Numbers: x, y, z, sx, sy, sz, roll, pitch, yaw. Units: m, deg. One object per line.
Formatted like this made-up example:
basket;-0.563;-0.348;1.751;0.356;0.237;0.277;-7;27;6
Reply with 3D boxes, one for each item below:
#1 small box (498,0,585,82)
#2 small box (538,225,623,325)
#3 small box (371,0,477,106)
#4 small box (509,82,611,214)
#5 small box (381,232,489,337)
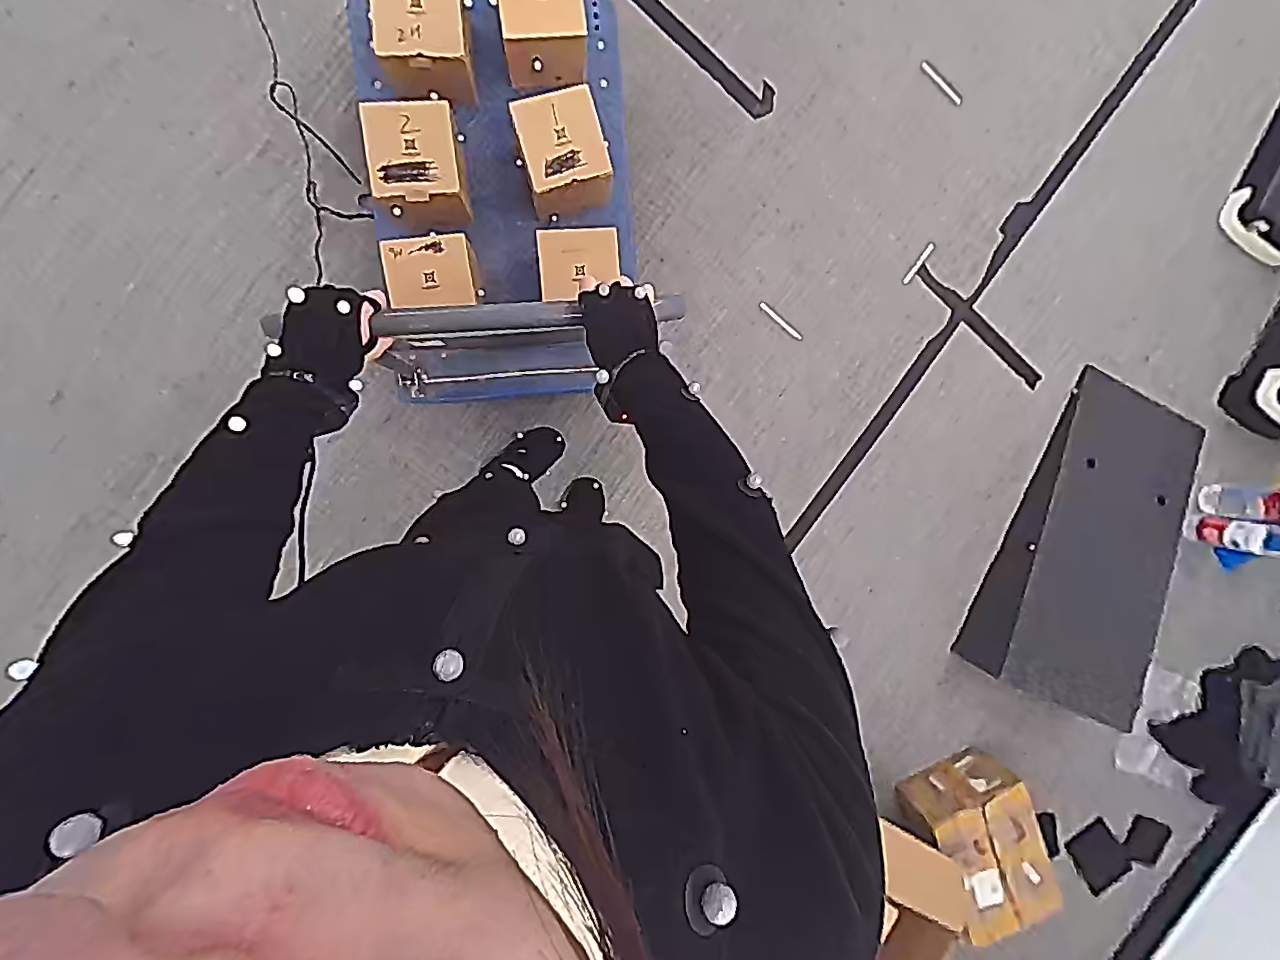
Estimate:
small box;-0.204;-0.960;1.120;0.168;0.176;0.179;-9;97;-6
small box;-0.131;-0.440;1.187;0.168;0.176;0.179;-5;96;-8
small box;-0.430;-0.901;1.094;0.168;0.176;0.179;-4;97;-7
small box;-0.165;-0.692;1.154;0.168;0.176;0.179;-18;97;-6
small box;-0.424;-0.405;1.149;0.168;0.176;0.179;-9;98;-8
